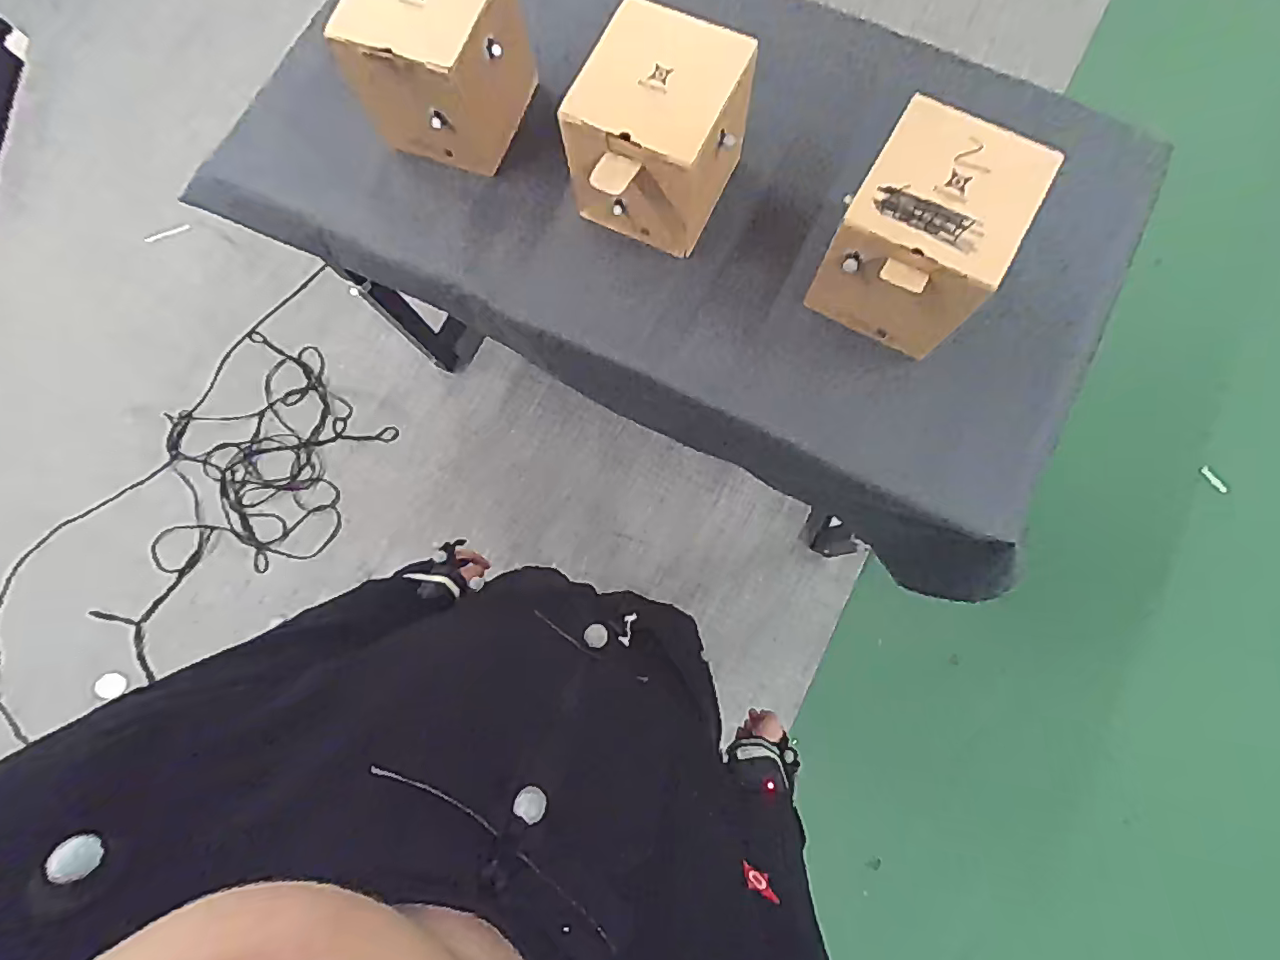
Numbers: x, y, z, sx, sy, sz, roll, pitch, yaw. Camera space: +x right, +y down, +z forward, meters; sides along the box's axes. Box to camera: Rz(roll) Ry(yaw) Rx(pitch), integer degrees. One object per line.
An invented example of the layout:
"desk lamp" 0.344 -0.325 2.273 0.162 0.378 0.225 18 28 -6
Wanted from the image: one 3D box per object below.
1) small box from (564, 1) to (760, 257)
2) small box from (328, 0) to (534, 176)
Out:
"small box" 0.026 -0.421 0.672 0.168 0.176 0.179 25 81 7
"small box" -0.254 -0.544 0.709 0.168 0.176 0.179 20 79 5
